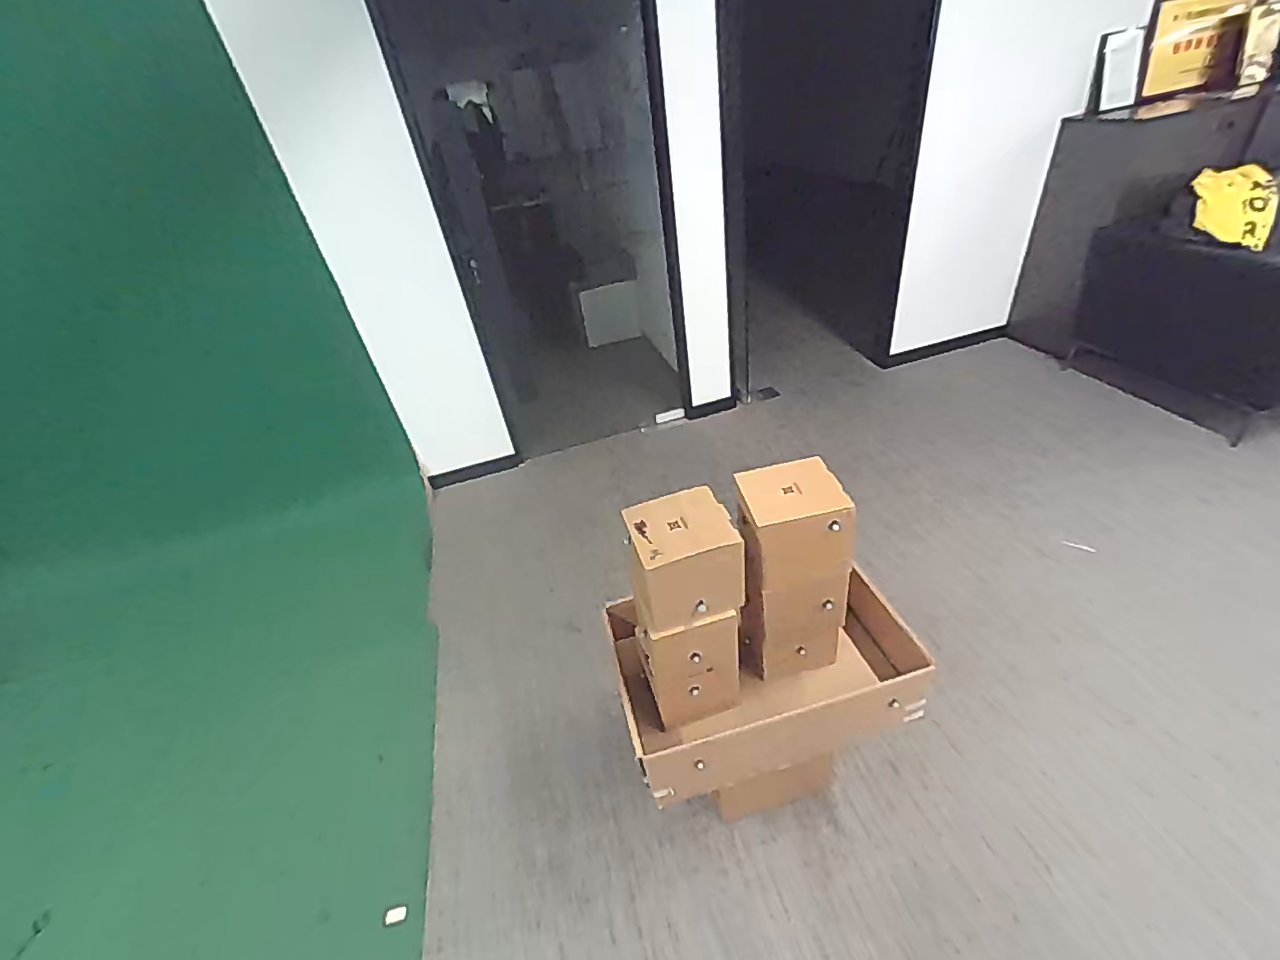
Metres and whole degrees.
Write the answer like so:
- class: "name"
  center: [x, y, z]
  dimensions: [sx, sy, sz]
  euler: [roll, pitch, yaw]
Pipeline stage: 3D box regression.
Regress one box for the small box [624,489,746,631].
- class: "small box"
  center: [0.081, 0.147, 0.994]
  dimensions: [0.179, 0.176, 0.168]
  euler: [-15, 37, -8]
